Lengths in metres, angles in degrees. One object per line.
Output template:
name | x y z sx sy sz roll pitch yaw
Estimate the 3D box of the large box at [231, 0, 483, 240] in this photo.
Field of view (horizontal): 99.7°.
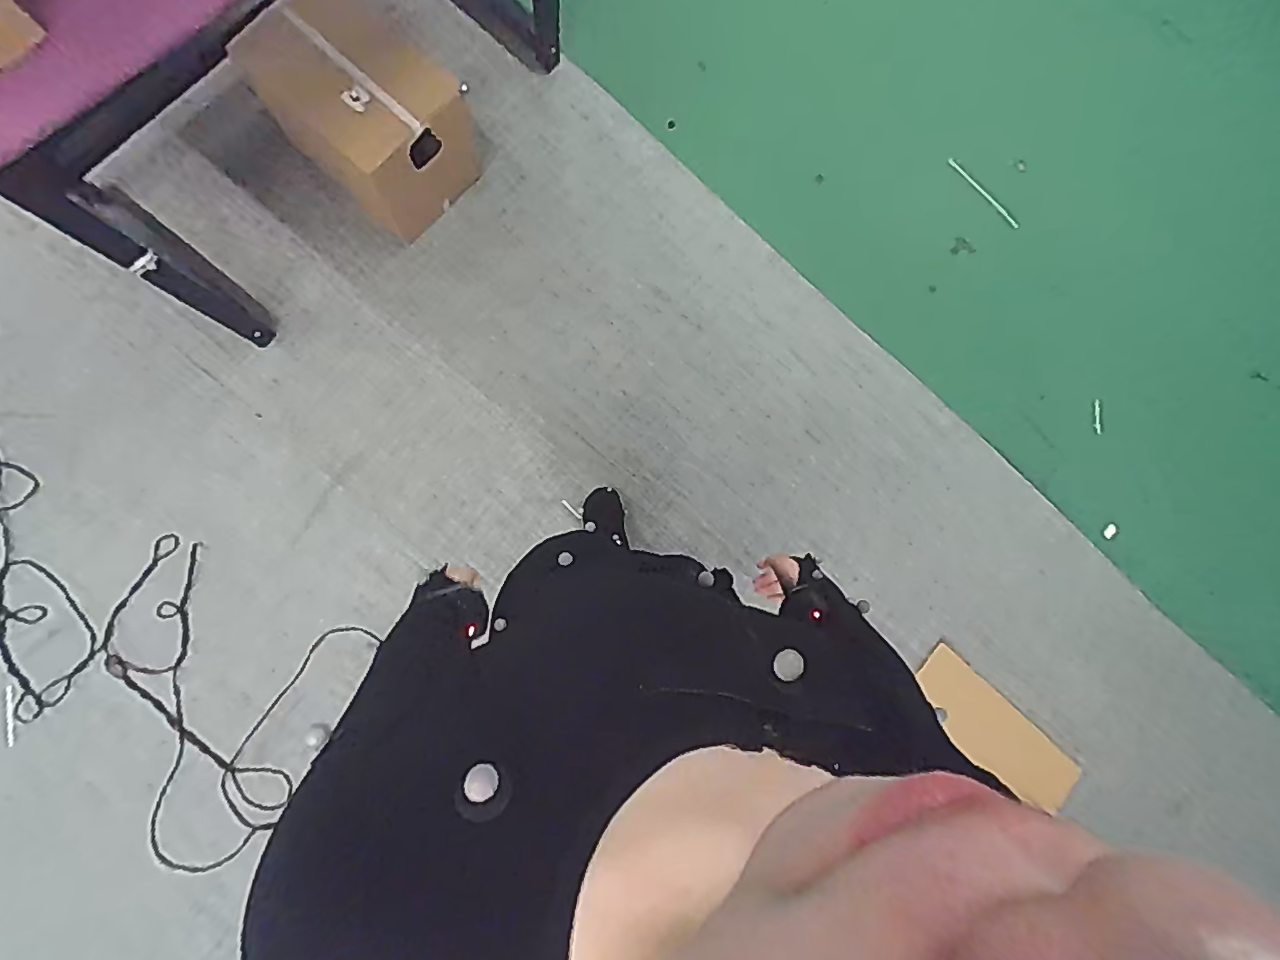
large box | -0.658 -0.900 1.339 0.408 0.320 0.320 41 82 -4
